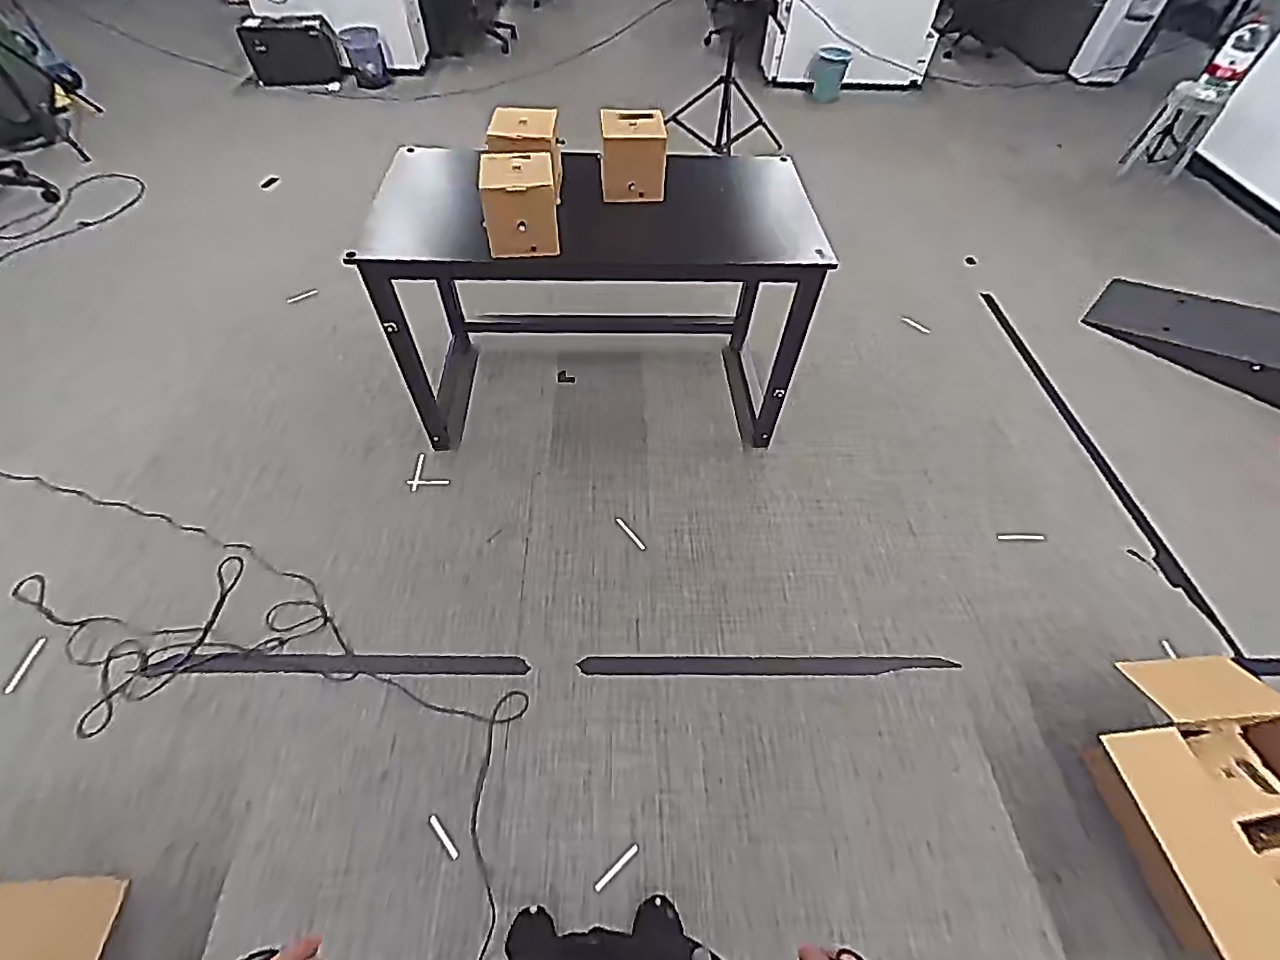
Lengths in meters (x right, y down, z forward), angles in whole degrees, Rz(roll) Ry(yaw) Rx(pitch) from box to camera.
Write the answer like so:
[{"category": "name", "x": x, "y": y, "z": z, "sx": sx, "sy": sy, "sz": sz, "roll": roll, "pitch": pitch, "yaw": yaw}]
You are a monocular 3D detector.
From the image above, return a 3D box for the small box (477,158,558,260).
[{"category": "small box", "x": -0.293, "y": -0.654, "z": 1.317, "sx": 0.168, "sy": 0.176, "sz": 0.179, "roll": -6, "pitch": 54, "yaw": -6}]

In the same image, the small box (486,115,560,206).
[{"category": "small box", "x": -0.313, "y": -0.870, "z": 1.480, "sx": 0.168, "sy": 0.176, "sz": 0.179, "roll": 0, "pitch": 54, "yaw": -2}]
